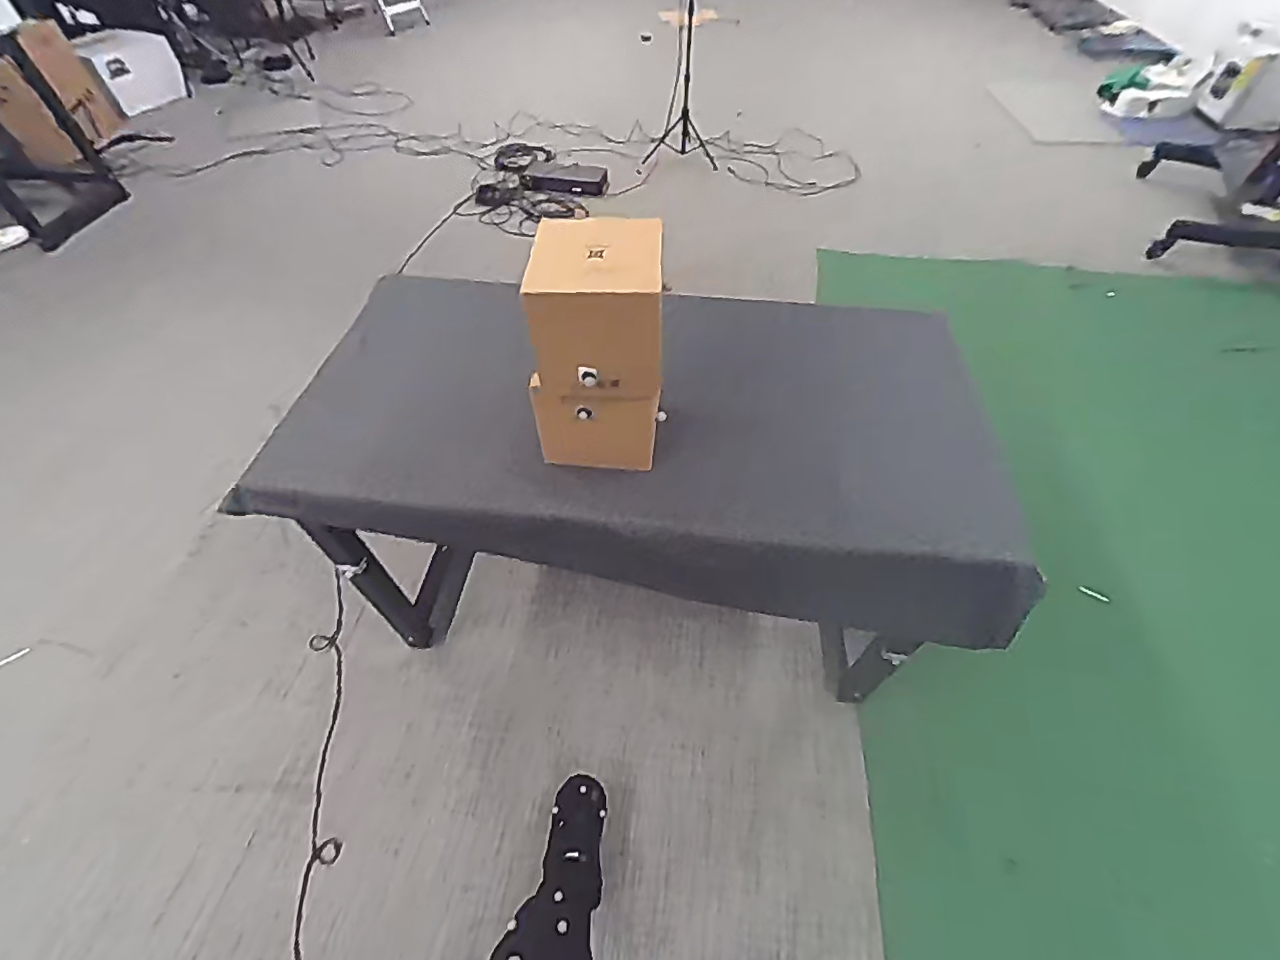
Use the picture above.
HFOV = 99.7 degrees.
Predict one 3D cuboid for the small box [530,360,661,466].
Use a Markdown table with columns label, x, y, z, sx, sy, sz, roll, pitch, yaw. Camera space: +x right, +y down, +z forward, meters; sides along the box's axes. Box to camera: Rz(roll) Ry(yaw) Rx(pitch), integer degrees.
| label | x | y | z | sx | sy | sz | roll | pitch | yaw |
| --- | --- | --- | --- | --- | --- | --- | --- | --- | --- |
| small box | -0.060 | -0.138 | 0.865 | 0.179 | 0.176 | 0.168 | 5 | 52 | 4 |

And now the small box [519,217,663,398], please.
| label | x | y | z | sx | sy | sz | roll | pitch | yaw |
| --- | --- | --- | --- | --- | --- | --- | --- | --- | --- |
| small box | -0.053 | -0.232 | 0.733 | 0.168 | 0.176 | 0.179 | 0 | 53 | 3 |
